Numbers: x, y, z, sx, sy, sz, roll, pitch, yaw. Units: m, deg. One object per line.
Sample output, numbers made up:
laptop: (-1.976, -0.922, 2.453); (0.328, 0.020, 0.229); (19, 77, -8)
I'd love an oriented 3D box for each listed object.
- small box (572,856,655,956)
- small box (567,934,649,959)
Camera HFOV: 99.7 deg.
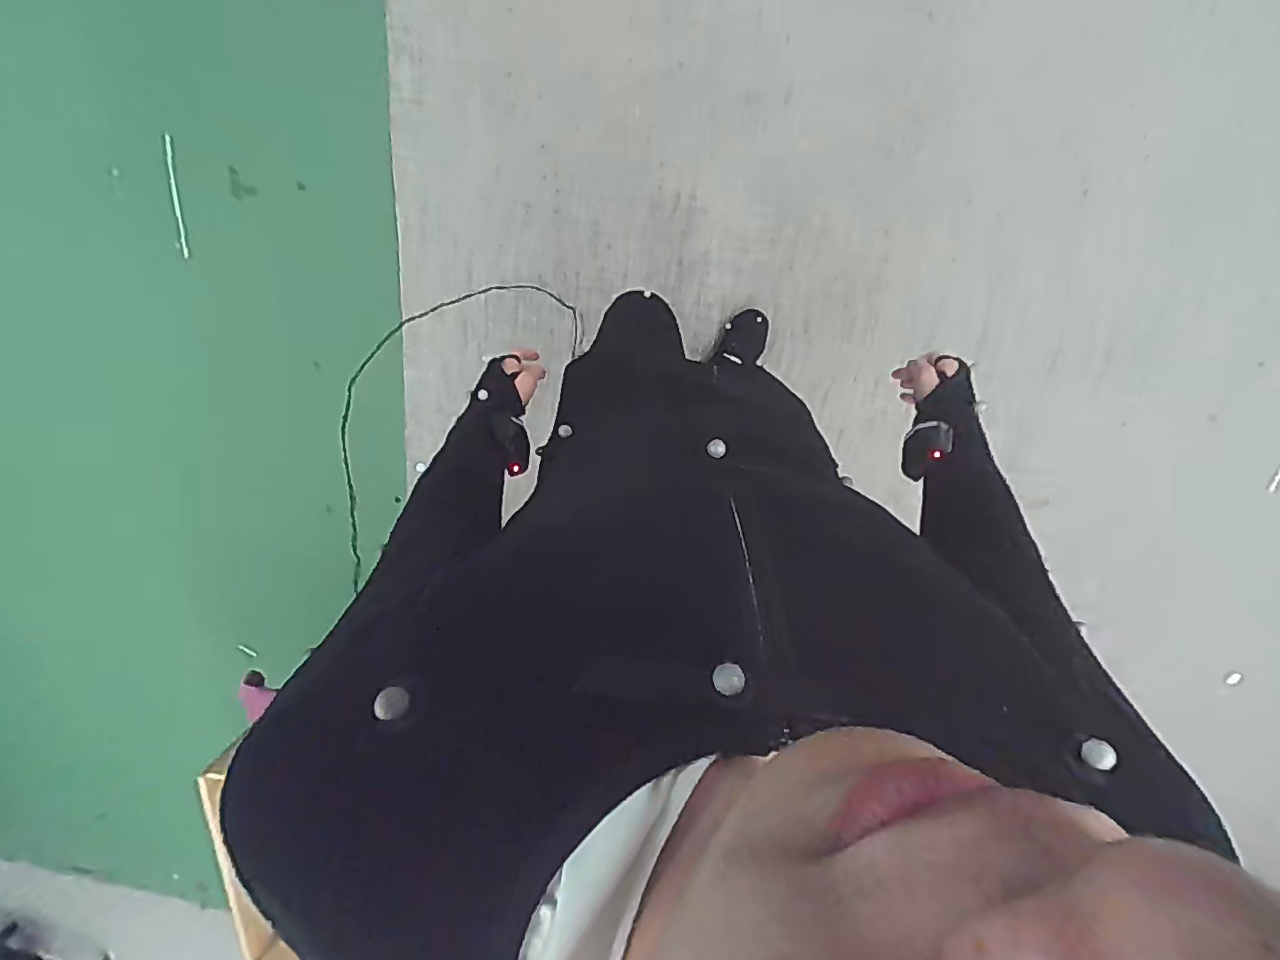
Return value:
small box: (-0.060, 0.988, 1.209); (0.168, 0.176, 0.179); (8, 111, 4)
small box: (-0.076, 1.041, 1.057); (0.168, 0.176, 0.179); (8, 112, 4)
